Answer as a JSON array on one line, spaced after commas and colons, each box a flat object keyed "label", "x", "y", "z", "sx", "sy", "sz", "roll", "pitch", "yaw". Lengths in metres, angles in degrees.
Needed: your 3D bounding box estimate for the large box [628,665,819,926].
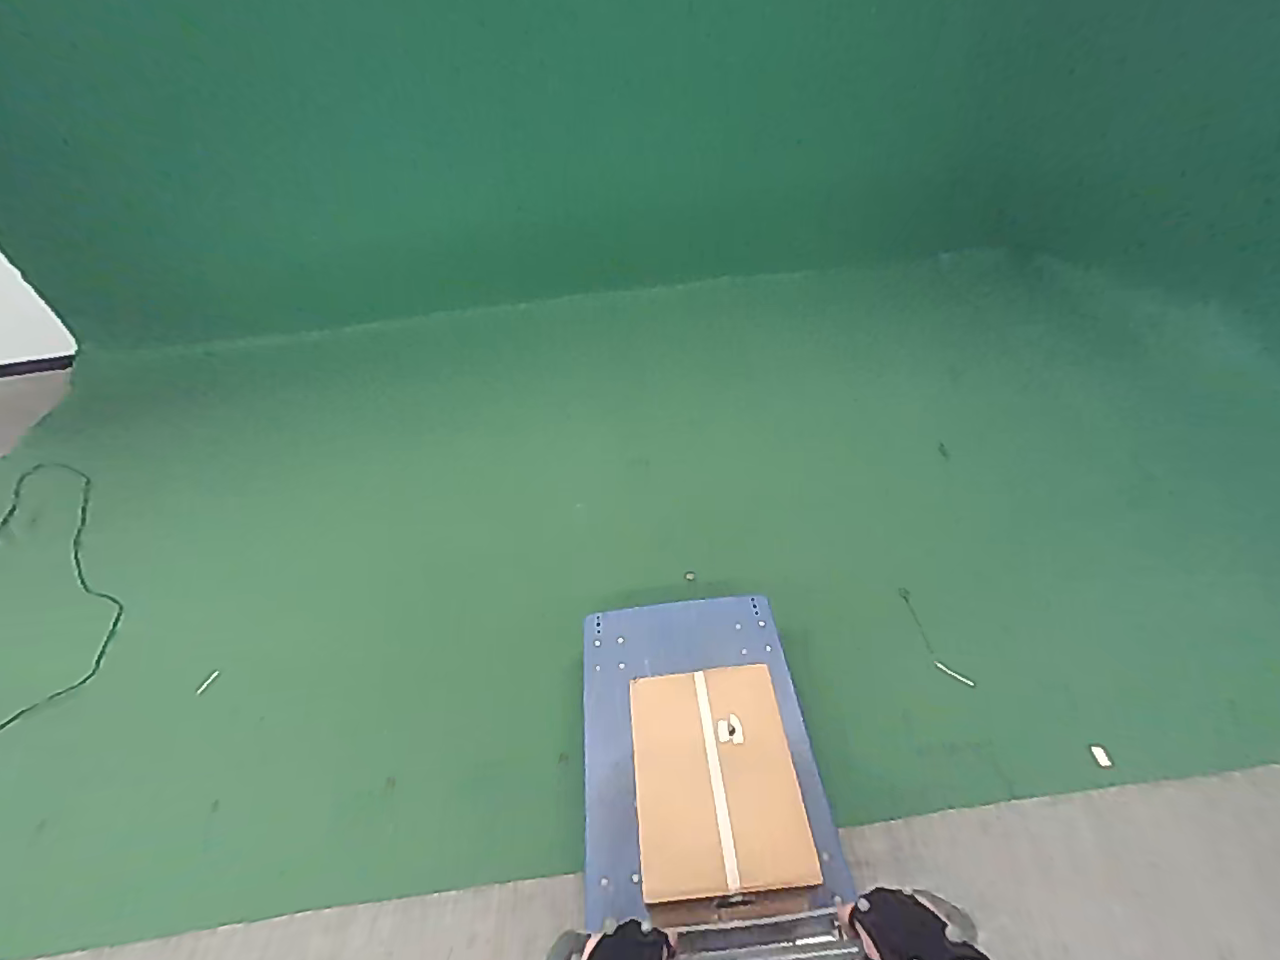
[{"label": "large box", "x": 0.159, "y": 0.679, "z": 1.177, "sx": 0.320, "sy": 0.320, "sz": 0.408, "roll": -7, "pitch": 44, "yaw": 0}]
